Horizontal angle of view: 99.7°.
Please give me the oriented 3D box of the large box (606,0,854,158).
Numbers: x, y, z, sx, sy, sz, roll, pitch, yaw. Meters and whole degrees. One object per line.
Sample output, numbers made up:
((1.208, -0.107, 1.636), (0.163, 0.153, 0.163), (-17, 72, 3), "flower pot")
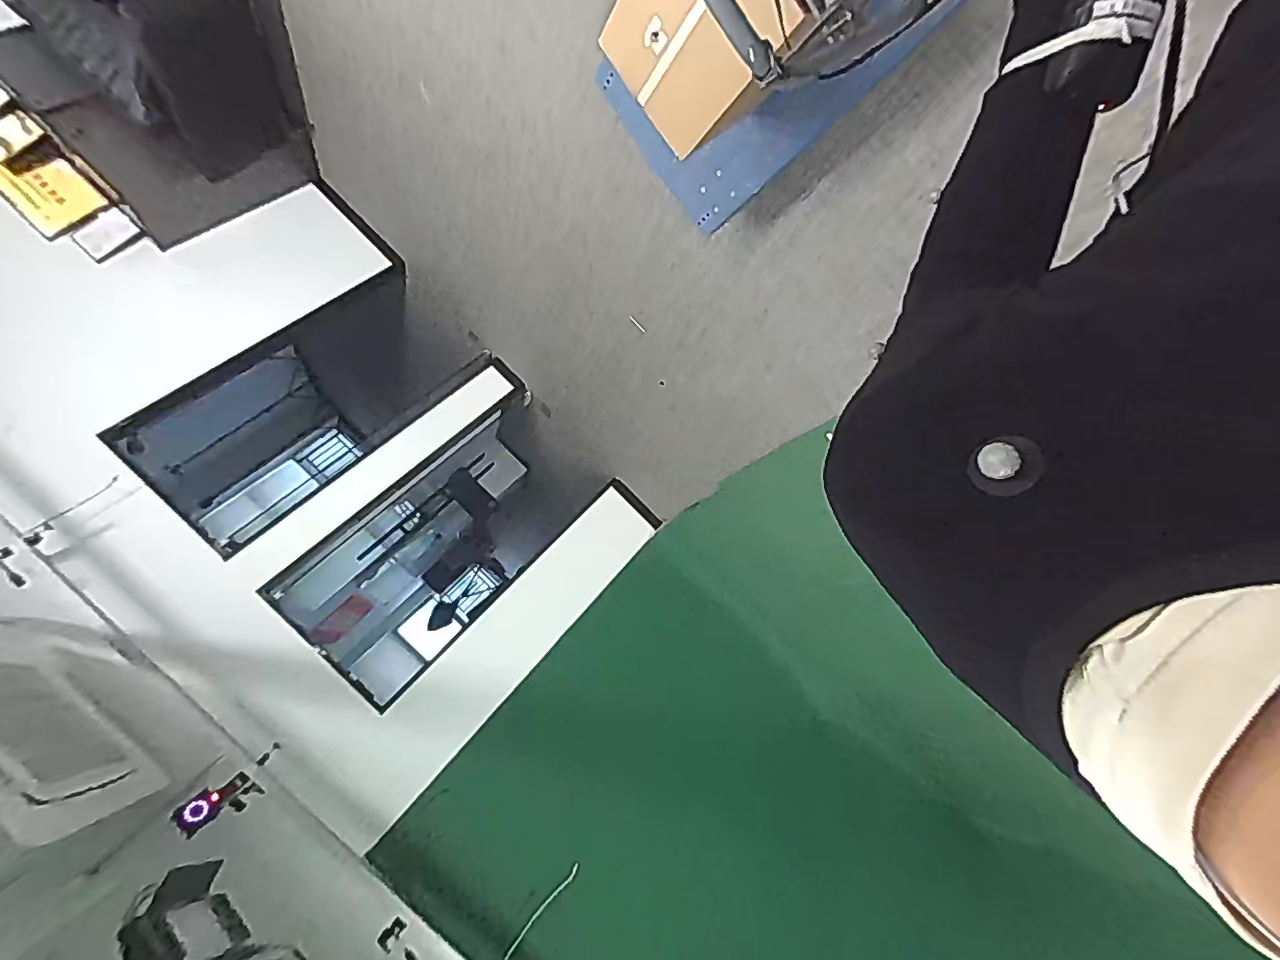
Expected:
((0.201, -0.984, 1.112), (0.320, 0.320, 0.408), (51, 155, -13), "large box")
